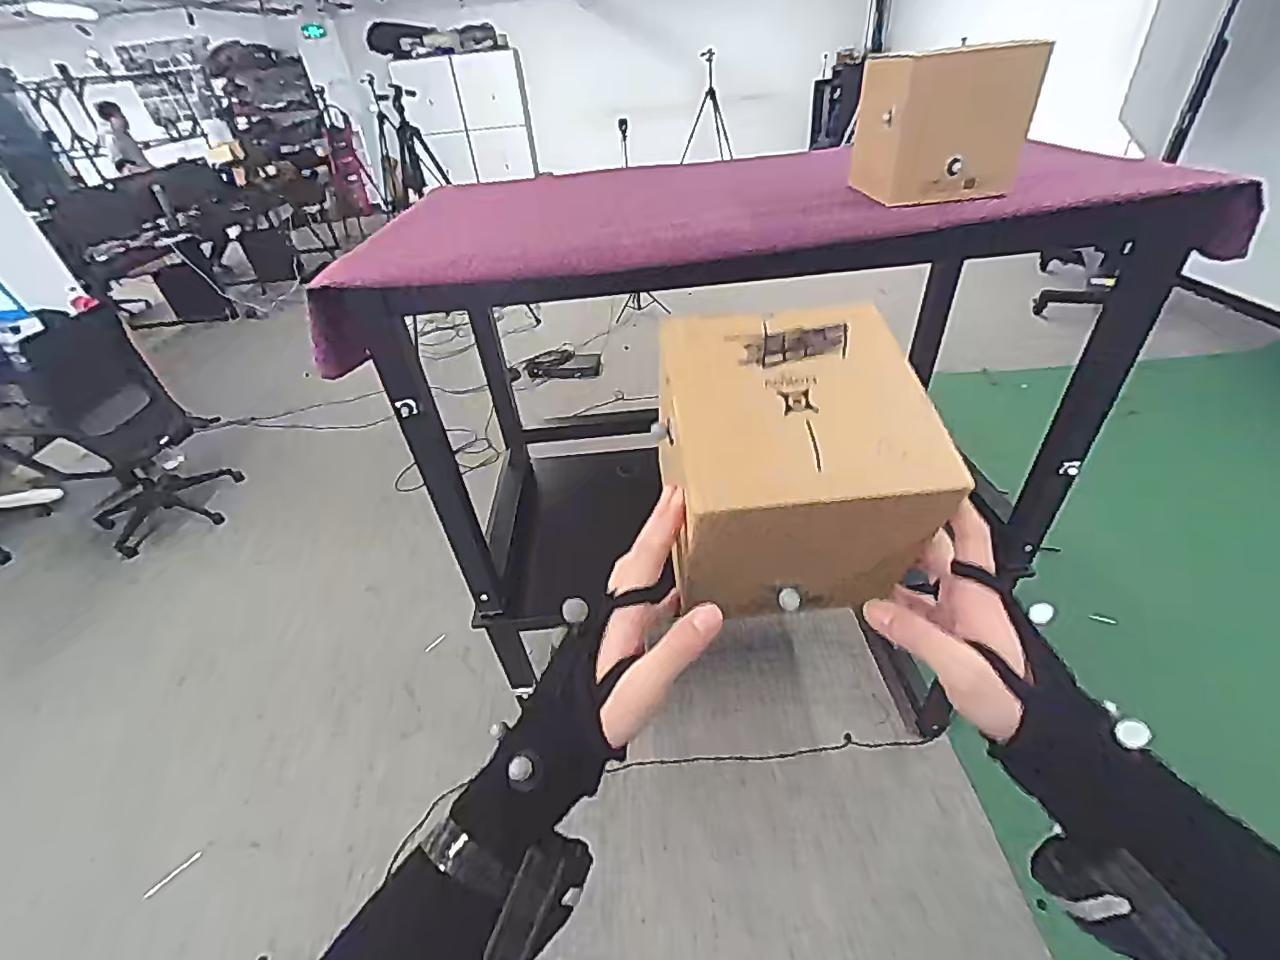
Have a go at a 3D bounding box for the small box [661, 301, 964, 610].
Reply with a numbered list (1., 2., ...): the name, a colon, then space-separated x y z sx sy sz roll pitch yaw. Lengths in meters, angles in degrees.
1. small box: 0.107 -0.016 0.432 0.168 0.176 0.179 -6 55 -2
